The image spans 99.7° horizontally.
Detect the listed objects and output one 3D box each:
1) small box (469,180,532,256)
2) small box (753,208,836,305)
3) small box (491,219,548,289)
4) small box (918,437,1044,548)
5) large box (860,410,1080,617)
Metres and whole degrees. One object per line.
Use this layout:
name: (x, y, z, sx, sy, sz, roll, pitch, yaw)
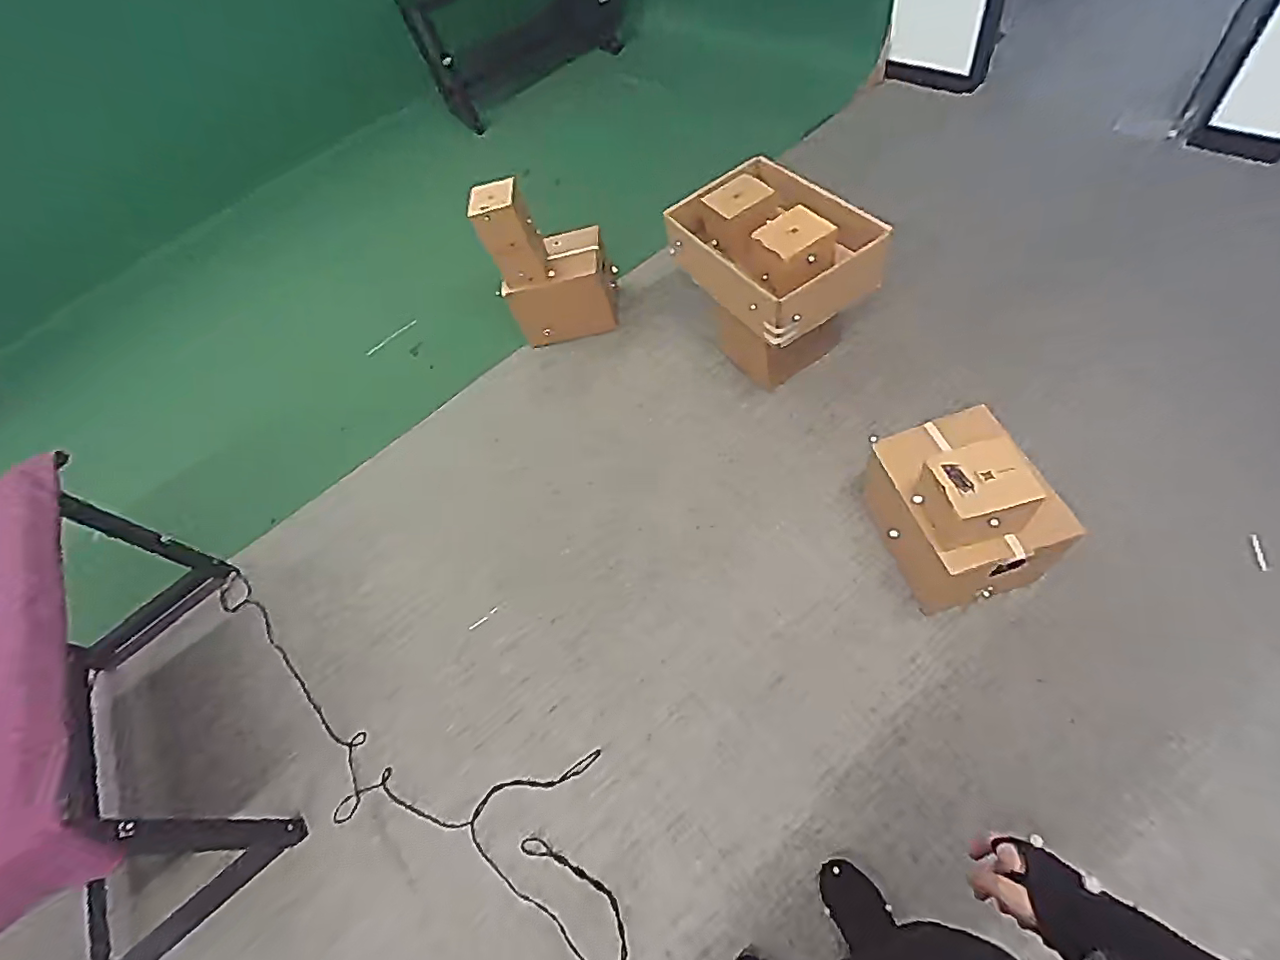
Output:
small box: (-0.509, -0.965, 1.997, 0.168, 0.176, 0.179, -10, 57, 10)
small box: (0.455, -0.661, 1.606, 0.179, 0.176, 0.168, -33, 56, -4)
small box: (-0.472, -0.891, 2.139, 0.168, 0.176, 0.179, -10, 58, 10)
small box: (0.750, 0.035, 1.217, 0.179, 0.176, 0.168, -17, 56, 7)
large box: (0.839, 0.094, 1.454, 0.320, 0.320, 0.408, -19, 55, 4)
